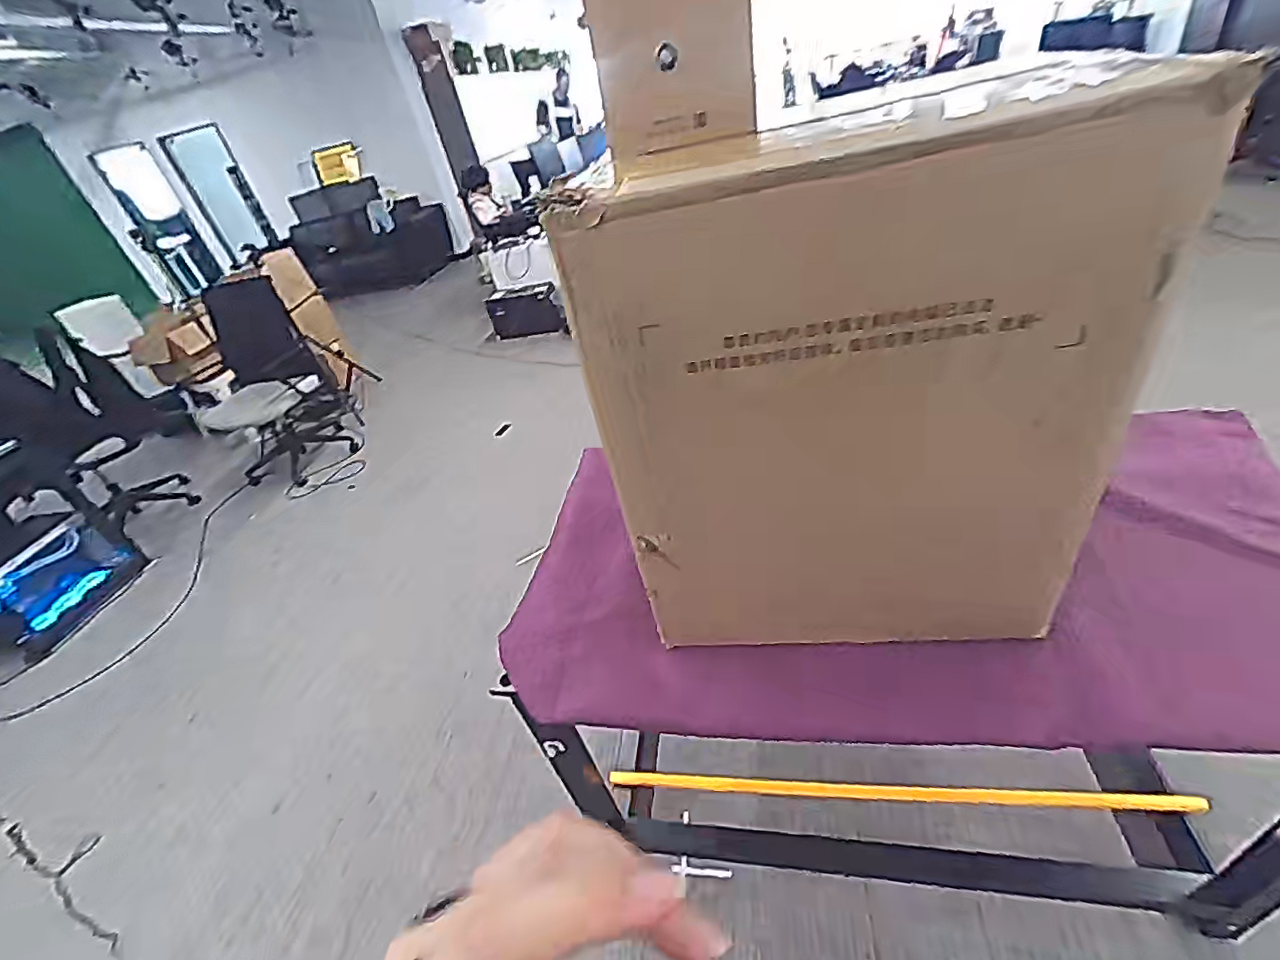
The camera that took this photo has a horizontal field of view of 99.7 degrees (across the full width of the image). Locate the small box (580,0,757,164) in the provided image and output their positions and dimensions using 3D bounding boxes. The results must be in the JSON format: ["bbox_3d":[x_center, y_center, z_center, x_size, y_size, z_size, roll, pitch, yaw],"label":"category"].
[{"bbox_3d":[0.042,-0.472,0.613,0.168,0.176,0.179,-4,37,11],"label":"small box"}]
